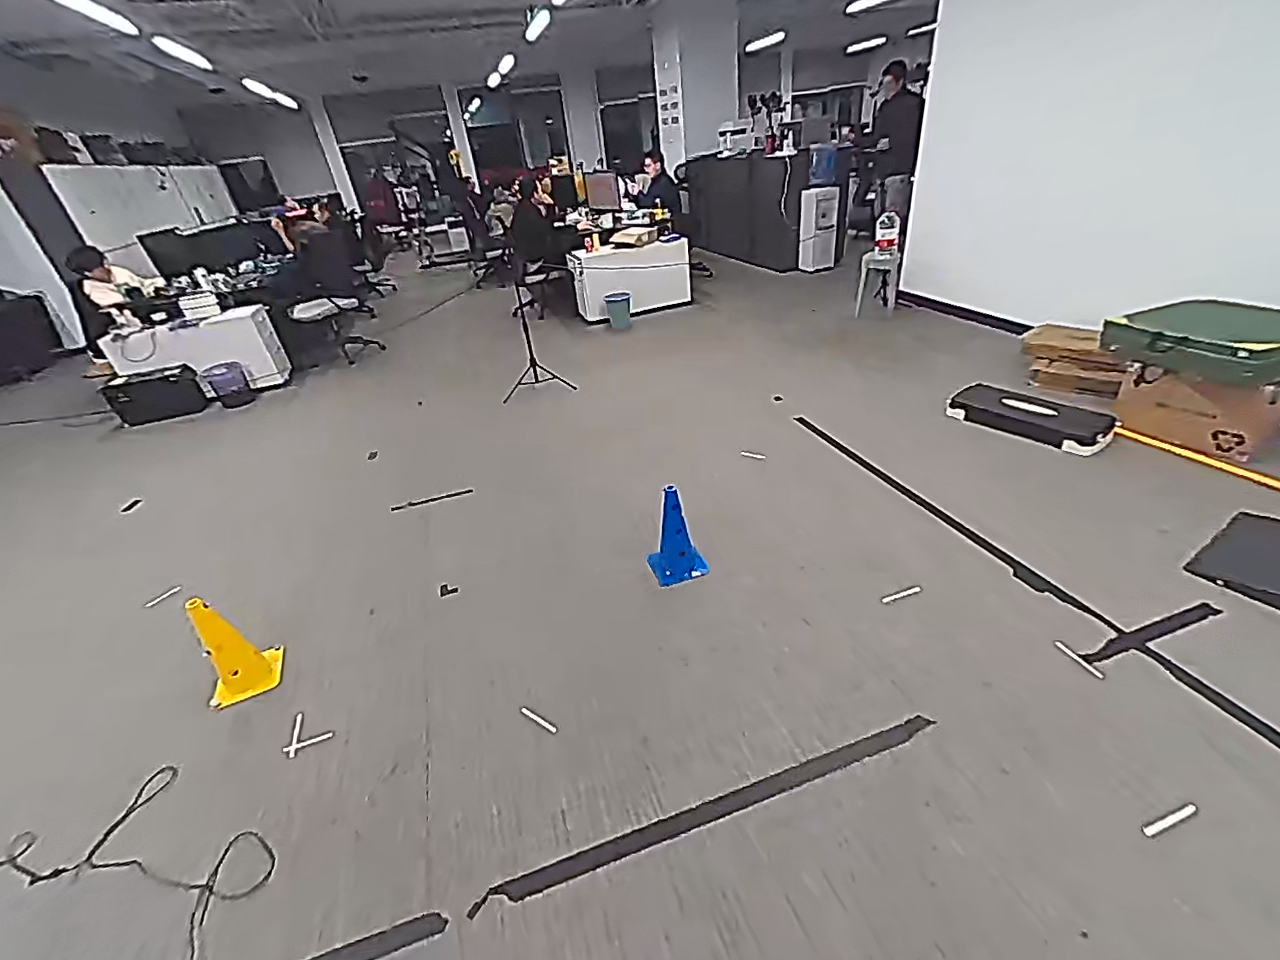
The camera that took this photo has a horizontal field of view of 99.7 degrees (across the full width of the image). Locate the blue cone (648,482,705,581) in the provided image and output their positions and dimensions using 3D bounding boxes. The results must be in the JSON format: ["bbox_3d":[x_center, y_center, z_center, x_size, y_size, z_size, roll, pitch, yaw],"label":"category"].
[{"bbox_3d":[0.123,0.180,2.015,0.193,0.380,0.192,-15,31,-11],"label":"blue cone"}]
